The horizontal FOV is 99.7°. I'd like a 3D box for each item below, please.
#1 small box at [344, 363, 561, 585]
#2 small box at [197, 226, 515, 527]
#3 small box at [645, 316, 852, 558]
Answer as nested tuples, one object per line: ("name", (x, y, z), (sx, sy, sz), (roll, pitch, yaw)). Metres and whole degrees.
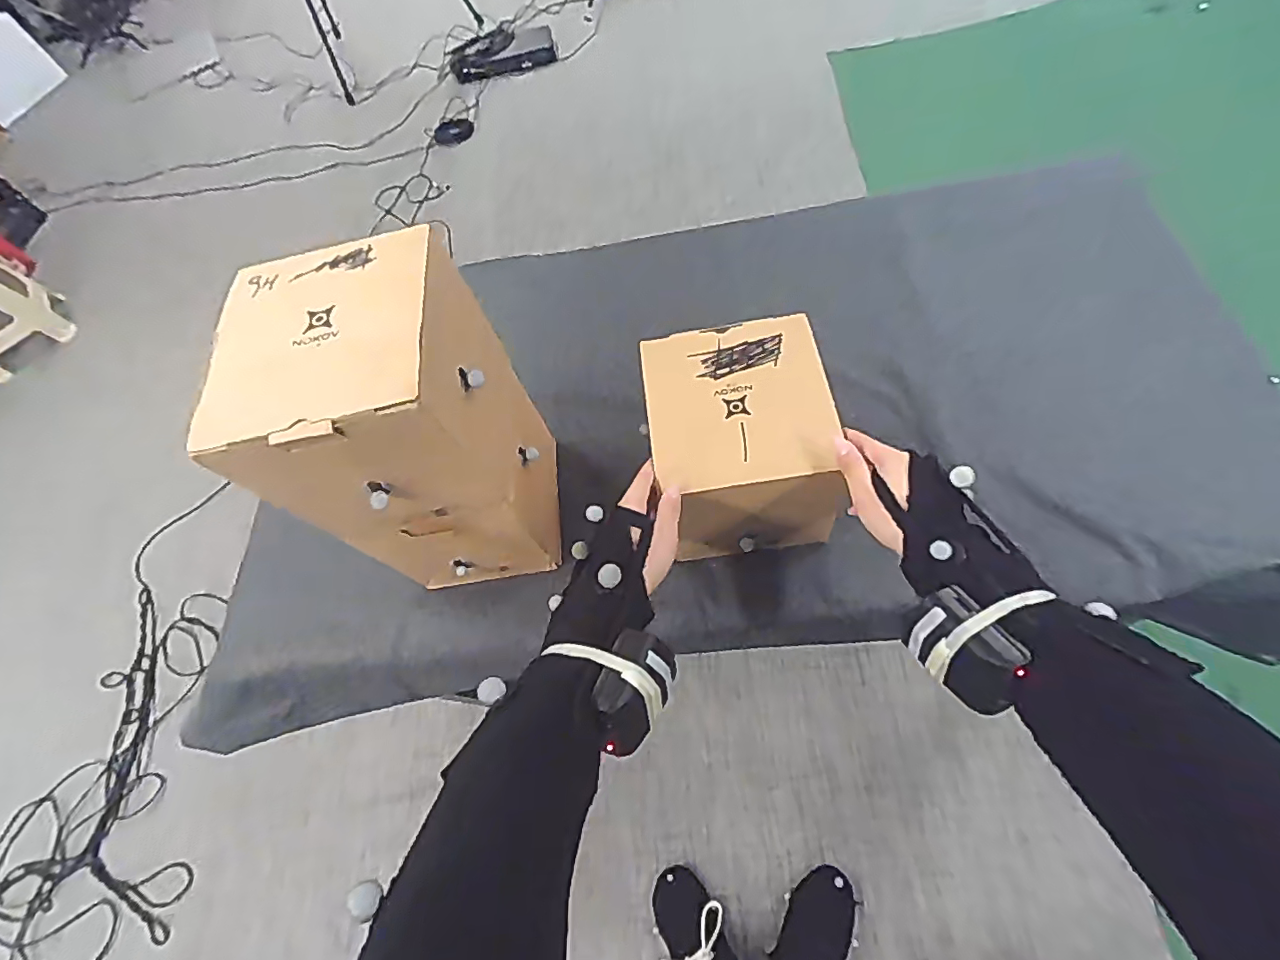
("small box", (-0.191, 0.001, 0.605), (0.168, 0.176, 0.179), (-10, 62, 5))
("small box", (-0.213, -0.071, 0.459), (0.168, 0.176, 0.179), (-11, 63, 5))
("small box", (0.103, -0.036, 0.564), (0.168, 0.176, 0.179), (-9, 61, 7))
